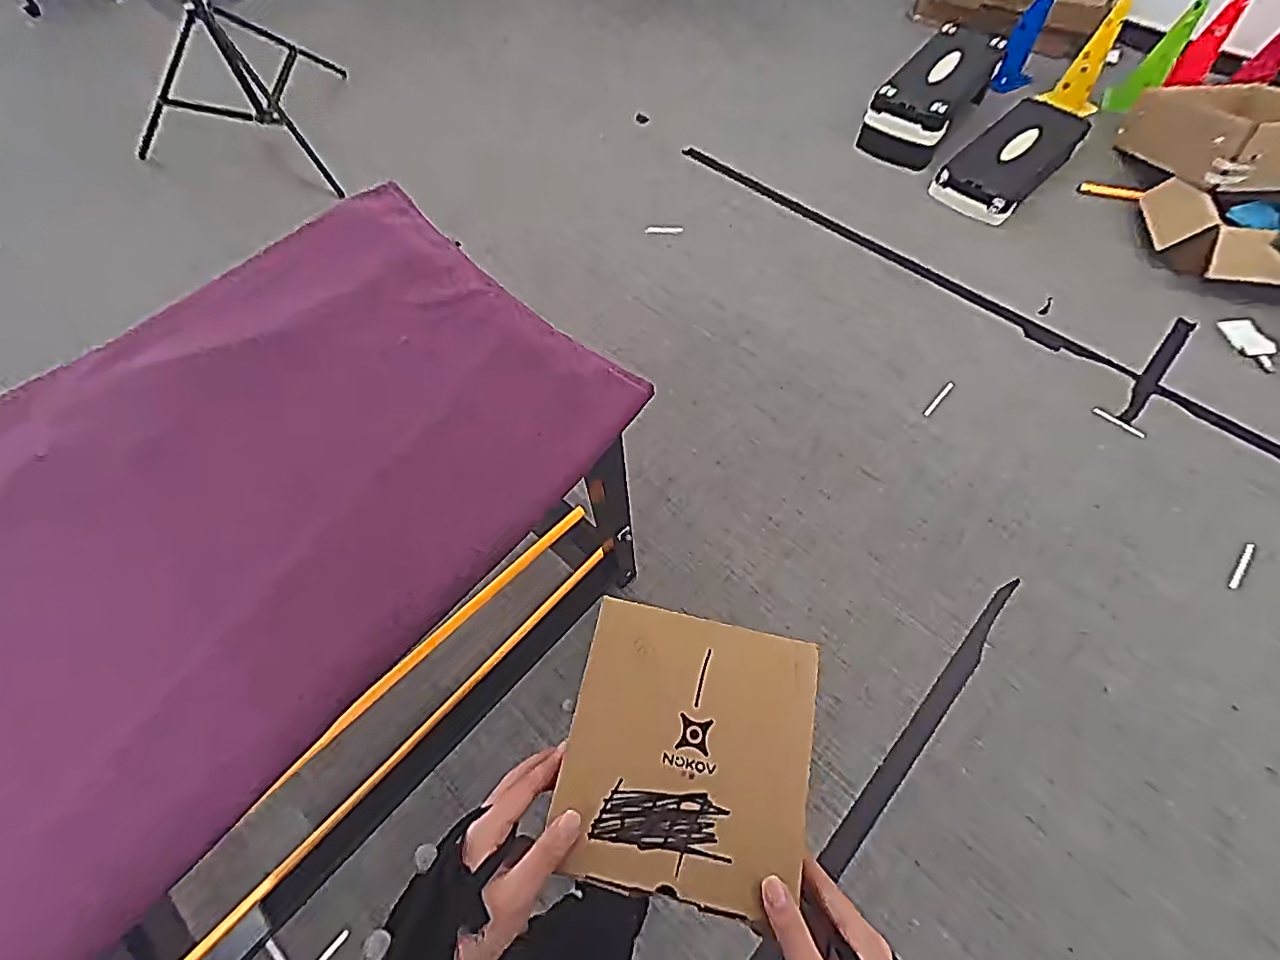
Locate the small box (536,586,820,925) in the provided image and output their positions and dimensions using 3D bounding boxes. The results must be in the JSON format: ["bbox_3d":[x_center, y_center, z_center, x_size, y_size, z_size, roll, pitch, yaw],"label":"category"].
[{"bbox_3d":[0.029,0.205,0.433,0.168,0.176,0.179,12,65,2],"label":"small box"}]
